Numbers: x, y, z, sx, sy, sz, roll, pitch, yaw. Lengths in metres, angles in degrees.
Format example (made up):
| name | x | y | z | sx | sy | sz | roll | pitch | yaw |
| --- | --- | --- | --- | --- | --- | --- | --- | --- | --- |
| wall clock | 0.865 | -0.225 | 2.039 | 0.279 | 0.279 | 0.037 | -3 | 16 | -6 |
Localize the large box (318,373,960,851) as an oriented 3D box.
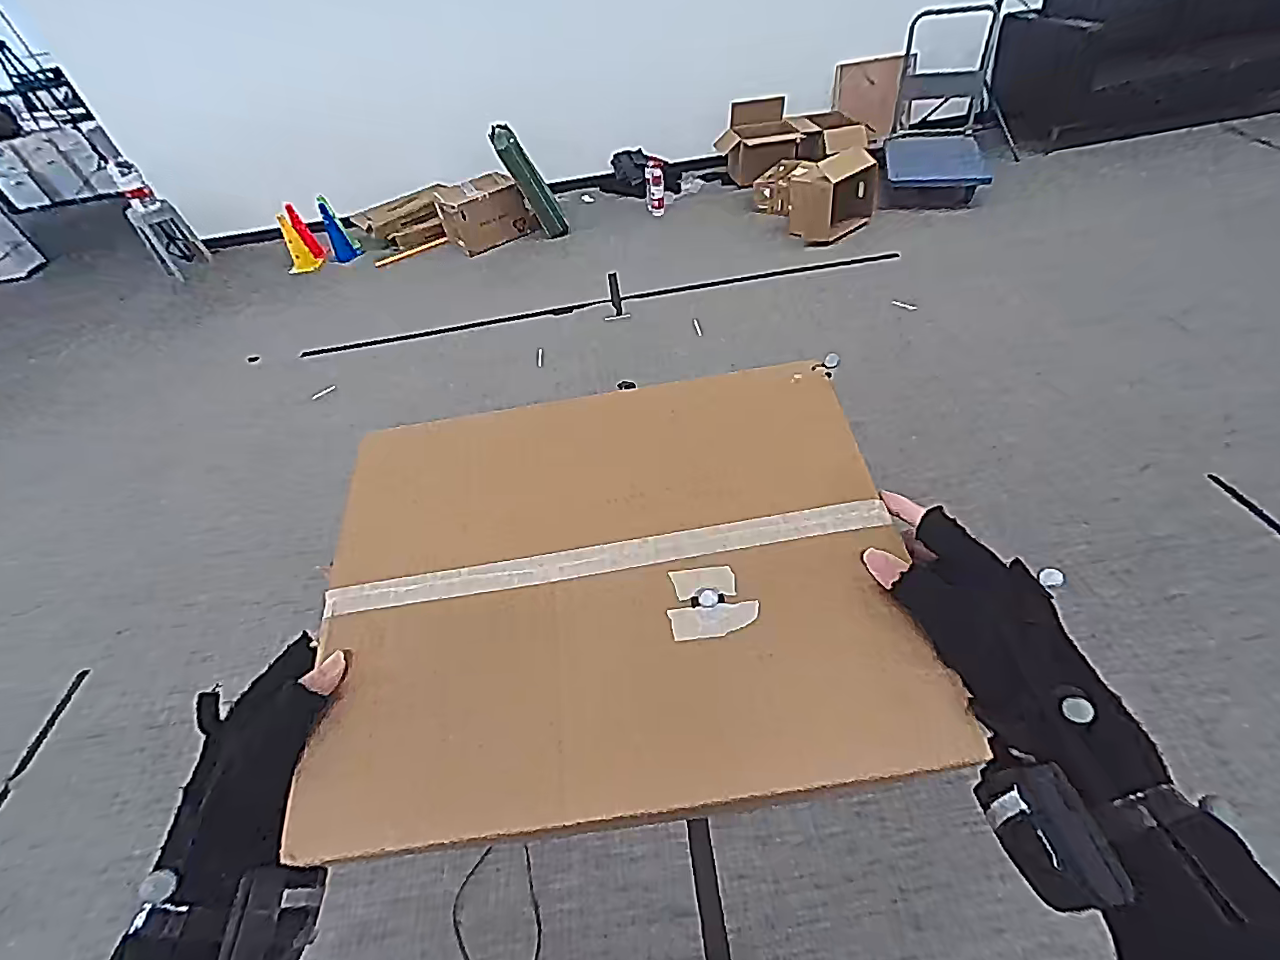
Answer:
| name | x | y | z | sx | sy | sz | roll | pitch | yaw |
| --- | --- | --- | --- | --- | --- | --- | --- | --- | --- |
| large box | -0.008 | 0.142 | 0.528 | 0.408 | 0.320 | 0.320 | -9 | 58 | 1 |
